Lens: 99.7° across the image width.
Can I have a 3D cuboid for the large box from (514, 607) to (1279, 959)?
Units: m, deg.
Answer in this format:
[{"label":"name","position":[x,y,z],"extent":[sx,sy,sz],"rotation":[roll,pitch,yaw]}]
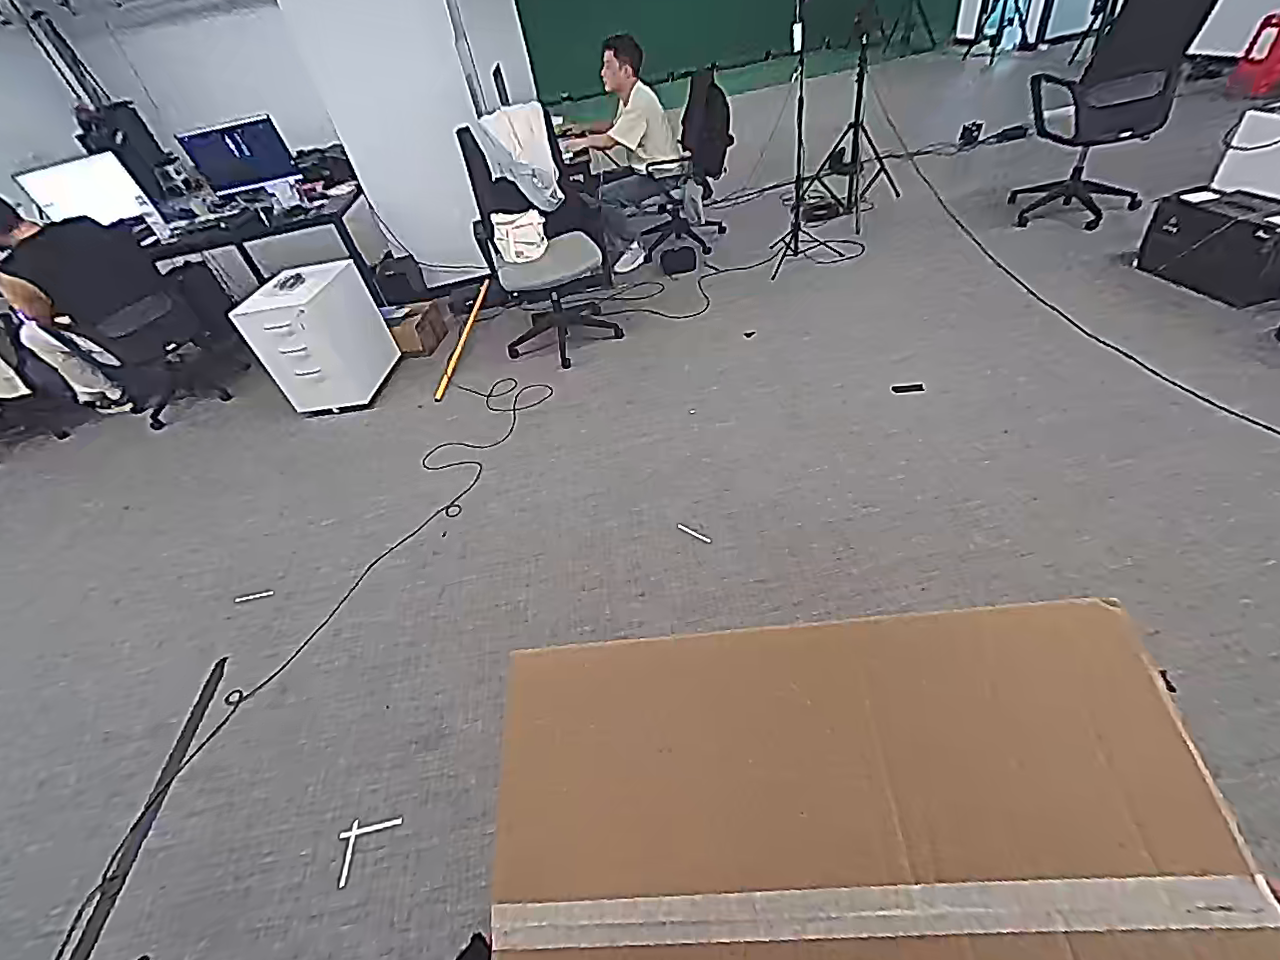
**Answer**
[{"label":"large box","position":[0.143,0.315,0.431],"extent":[0.408,0.320,0.320],"rotation":[-7,61,7]}]
